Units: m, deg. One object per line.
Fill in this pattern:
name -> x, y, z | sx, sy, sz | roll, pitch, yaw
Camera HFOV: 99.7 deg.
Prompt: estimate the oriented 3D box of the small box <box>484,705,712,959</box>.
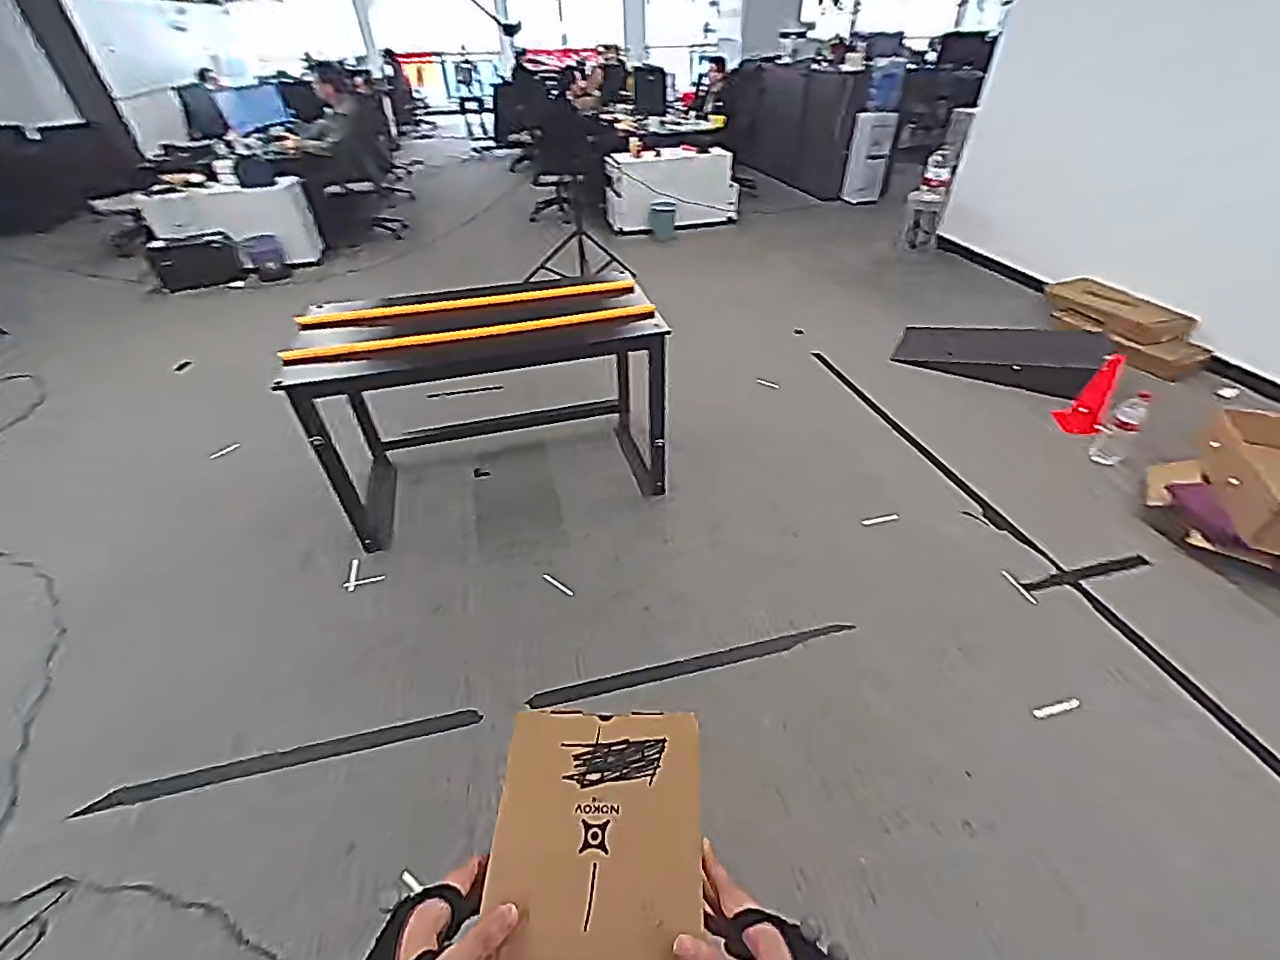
small box -> -0.024, 0.325, 0.494 | 0.168, 0.176, 0.179 | -2, 47, 4
